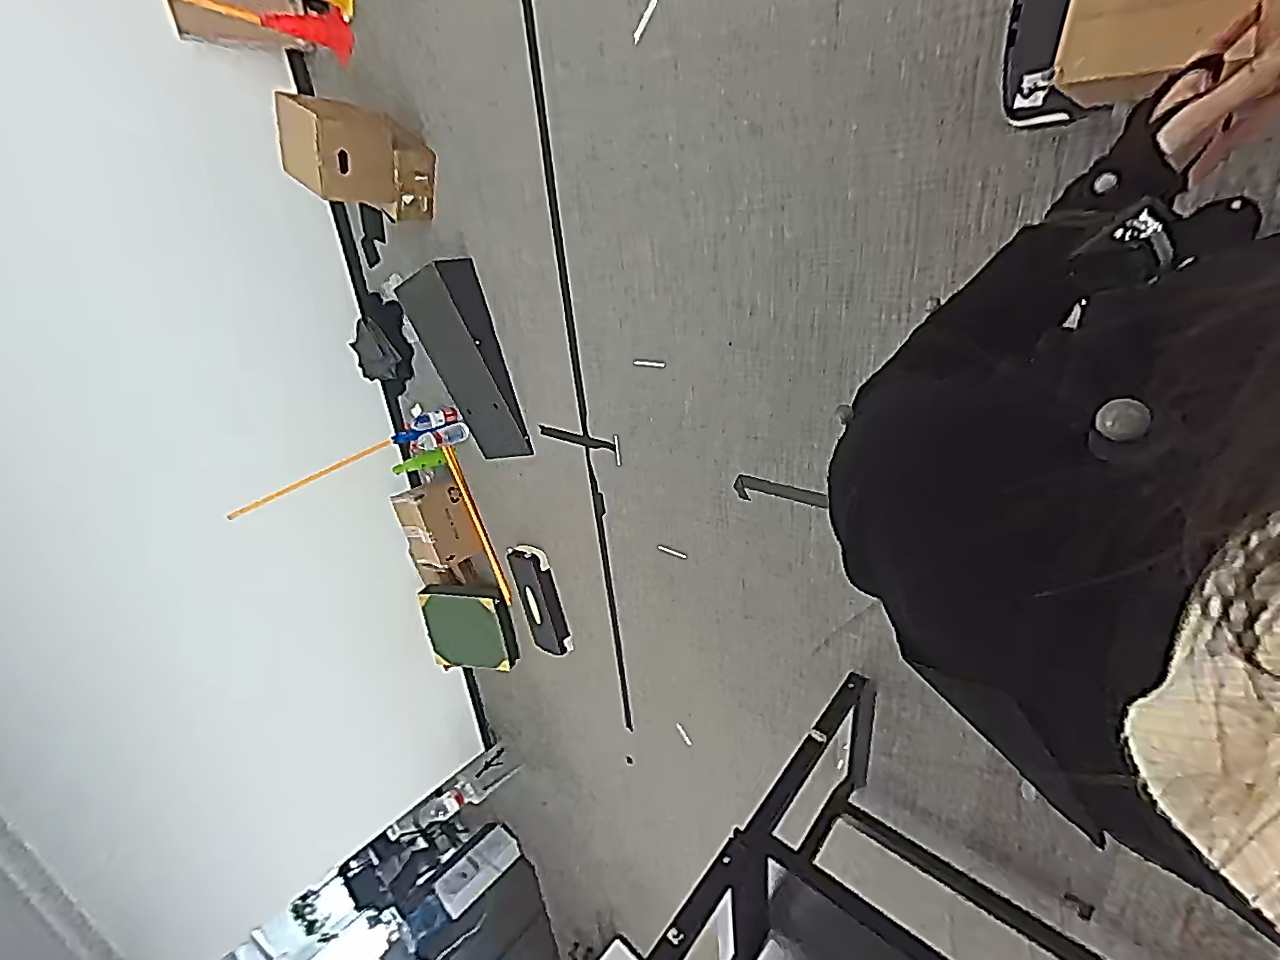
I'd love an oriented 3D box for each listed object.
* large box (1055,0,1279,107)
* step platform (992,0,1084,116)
[{"bbox_3d":[0.786,-0.649,0.615,0.408,0.320,0.320,22,124,39],"label":"large box"},{"bbox_3d":[0.928,-0.734,0.789,0.684,0.204,0.286,24,126,38],"label":"step platform"}]
